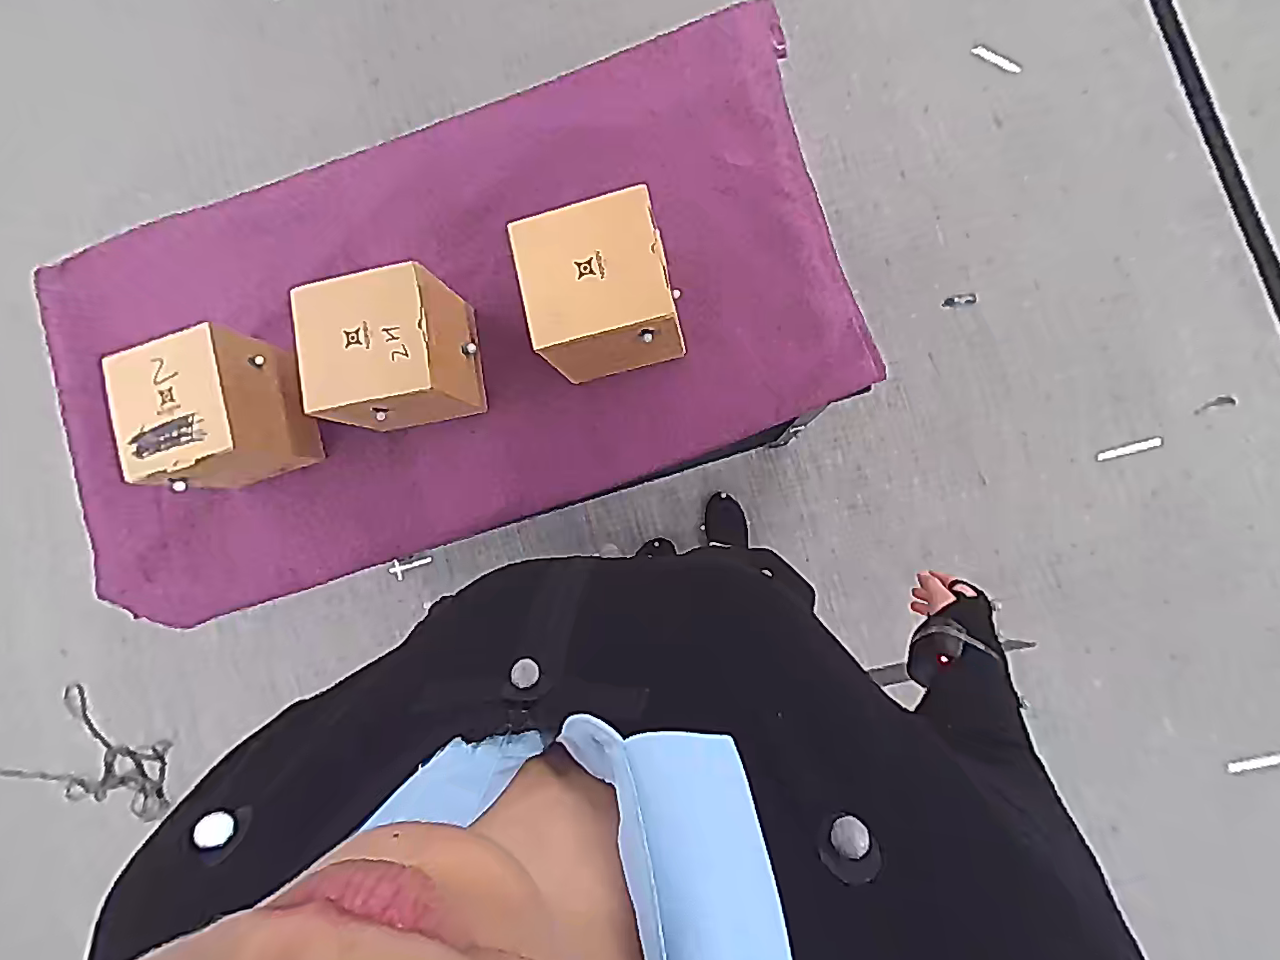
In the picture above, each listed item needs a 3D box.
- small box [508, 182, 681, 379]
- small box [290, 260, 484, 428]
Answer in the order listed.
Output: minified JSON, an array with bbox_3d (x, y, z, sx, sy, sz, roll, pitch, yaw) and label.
[{"bbox_3d":[-0.050,-0.247,0.716,0.179,0.176,0.168,-13,84,6],"label":"small box"},{"bbox_3d":[-0.339,-0.174,0.748,0.179,0.176,0.168,-9,86,6],"label":"small box"}]
